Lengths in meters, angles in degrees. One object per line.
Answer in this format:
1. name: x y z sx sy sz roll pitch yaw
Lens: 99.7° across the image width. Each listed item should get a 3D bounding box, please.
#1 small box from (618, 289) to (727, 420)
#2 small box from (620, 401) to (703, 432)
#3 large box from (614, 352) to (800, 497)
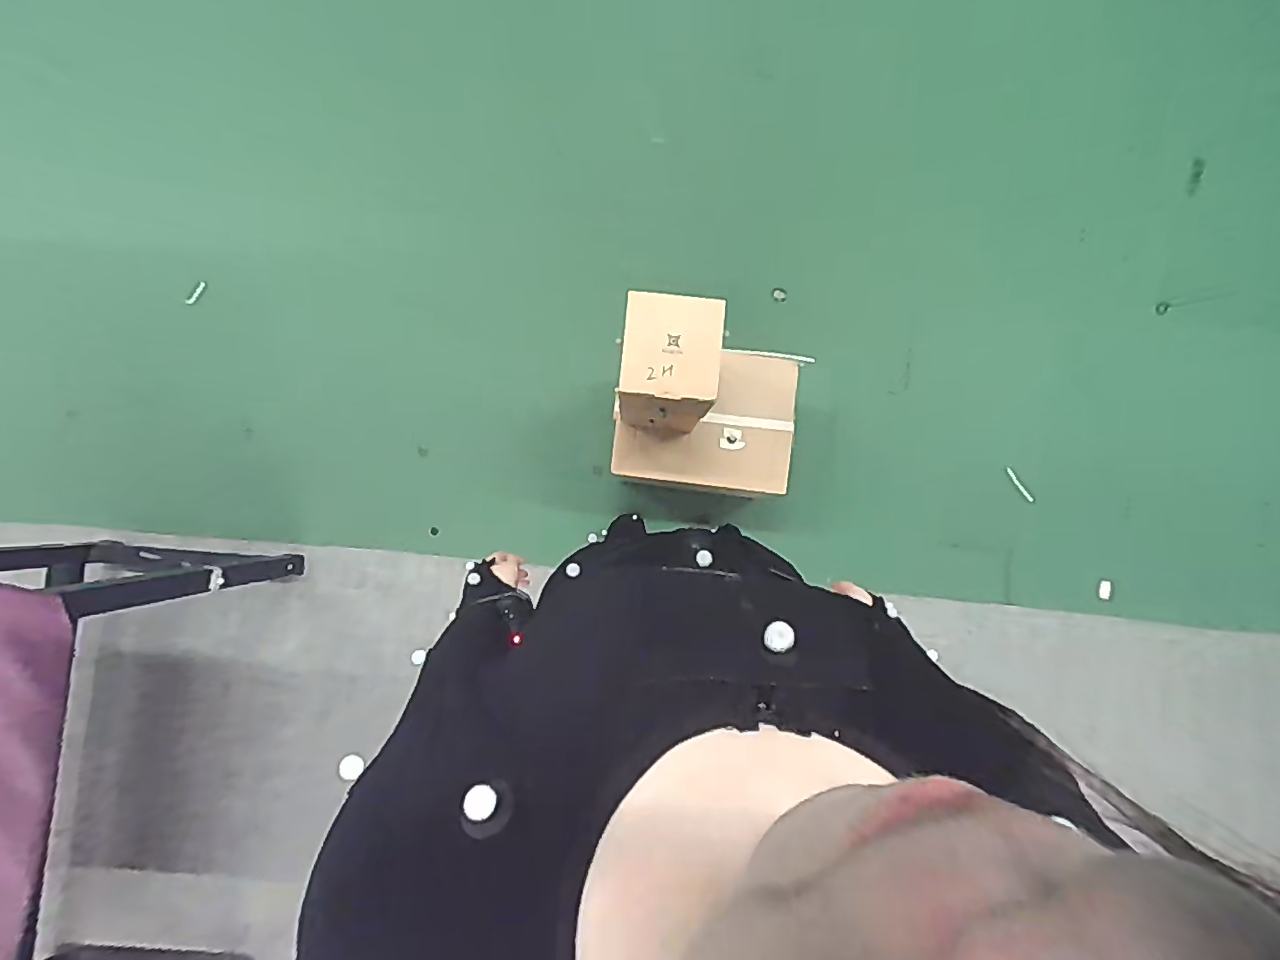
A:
1. small box: 0.053 -0.215 0.963 0.168 0.176 0.179 6 87 0
2. small box: 0.050 -0.207 1.128 0.168 0.176 0.179 7 87 0
3. large box: 0.148 -0.131 1.367 0.408 0.320 0.320 7 87 -1
